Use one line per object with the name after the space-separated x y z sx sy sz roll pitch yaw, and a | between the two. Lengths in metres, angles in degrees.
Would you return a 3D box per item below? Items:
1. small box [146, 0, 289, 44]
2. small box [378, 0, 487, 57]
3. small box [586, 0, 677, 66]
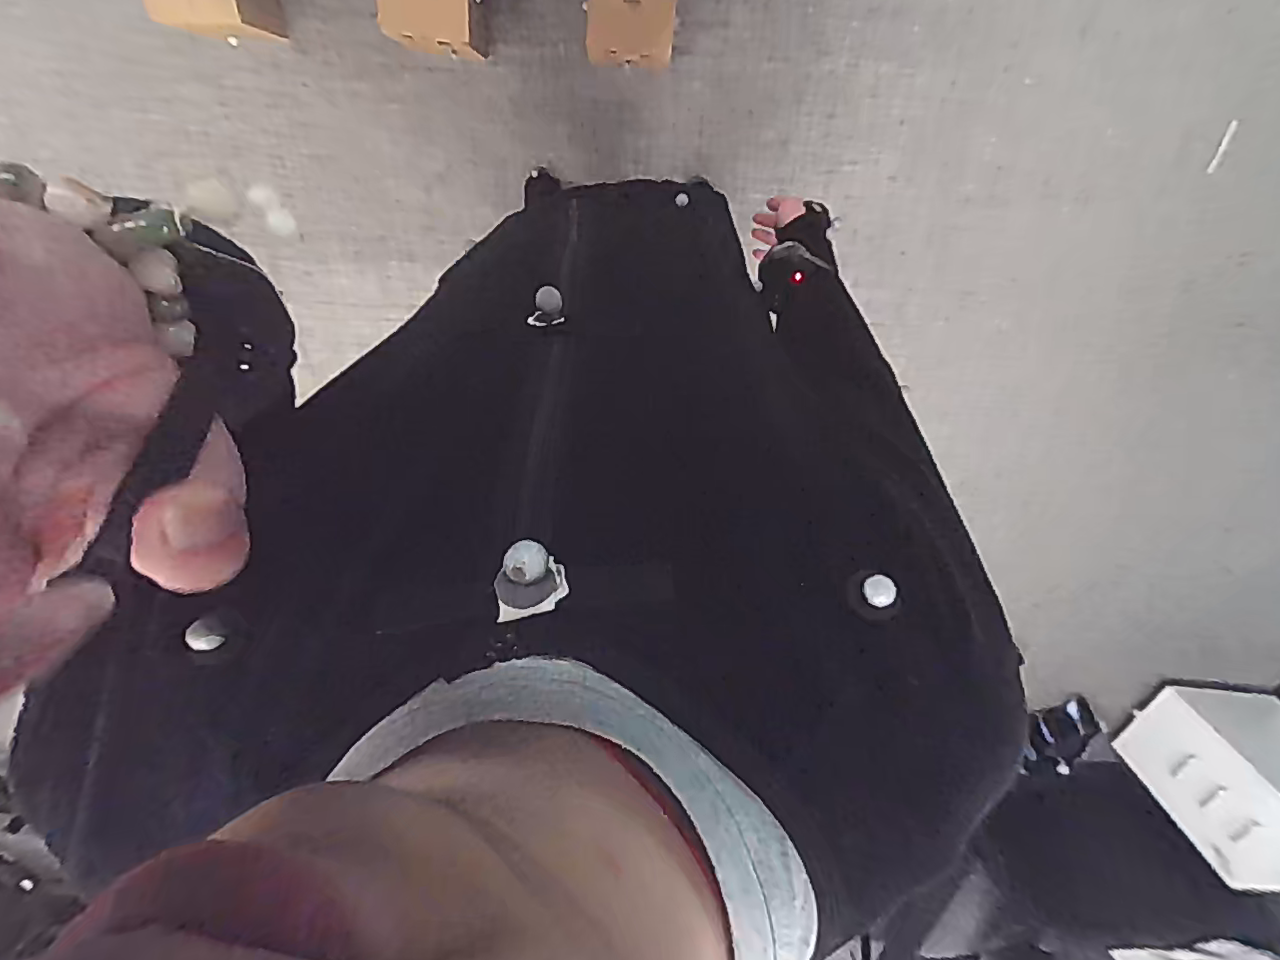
-0.805 -0.946 1.013 0.168 0.176 0.179 0 122 -1 | small box
-0.392 -0.938 1.035 0.168 0.176 0.179 4 120 -6 | small box
-0.013 -0.931 1.052 0.168 0.176 0.179 4 120 -4 | small box
